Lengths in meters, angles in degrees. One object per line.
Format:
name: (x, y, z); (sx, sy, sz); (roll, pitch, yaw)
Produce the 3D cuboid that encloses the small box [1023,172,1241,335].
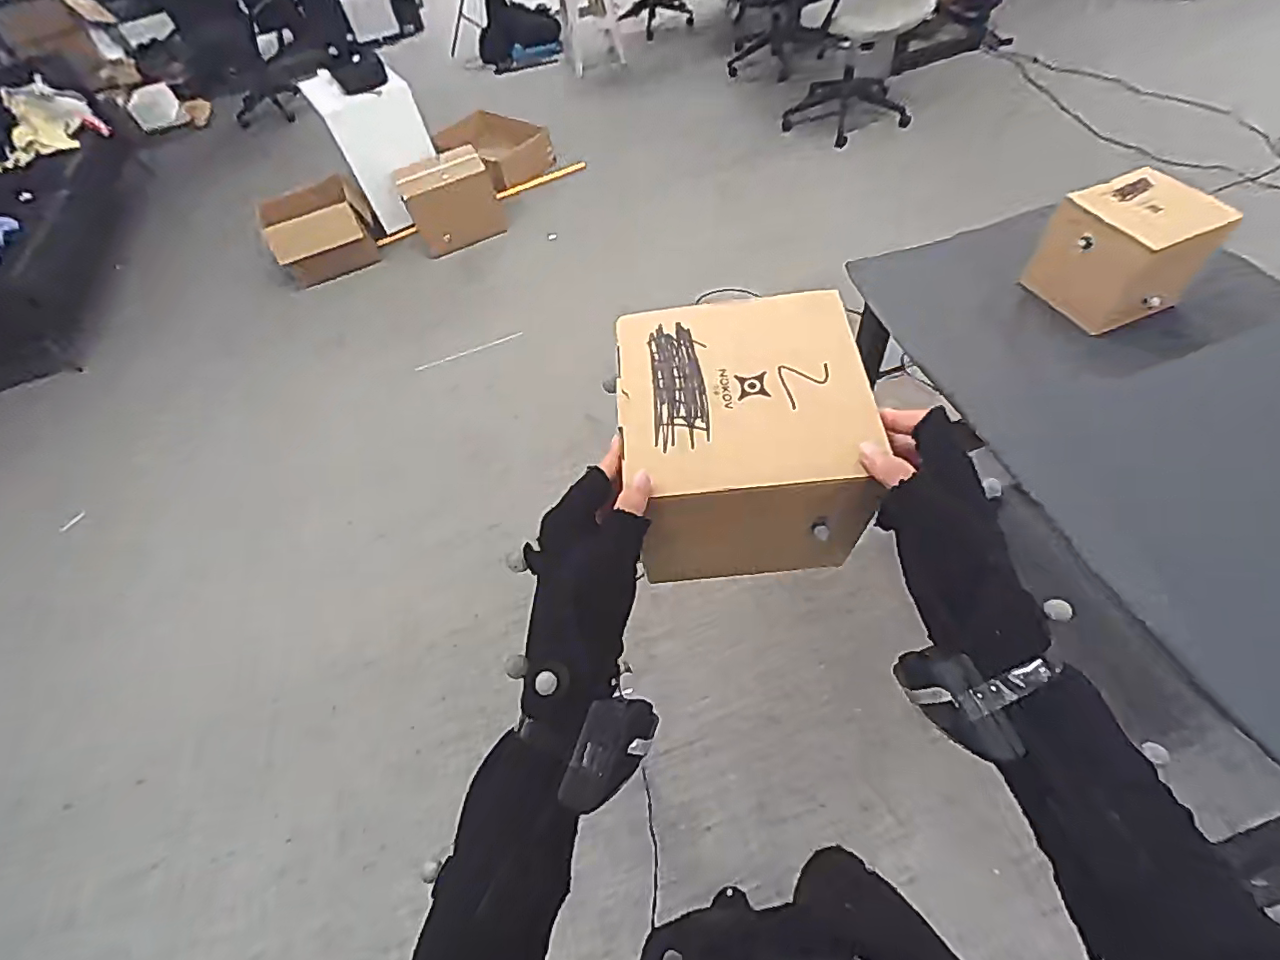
small box: (0.806, -0.379, 0.914); (0.168, 0.176, 0.179); (-21, 56, -5)
